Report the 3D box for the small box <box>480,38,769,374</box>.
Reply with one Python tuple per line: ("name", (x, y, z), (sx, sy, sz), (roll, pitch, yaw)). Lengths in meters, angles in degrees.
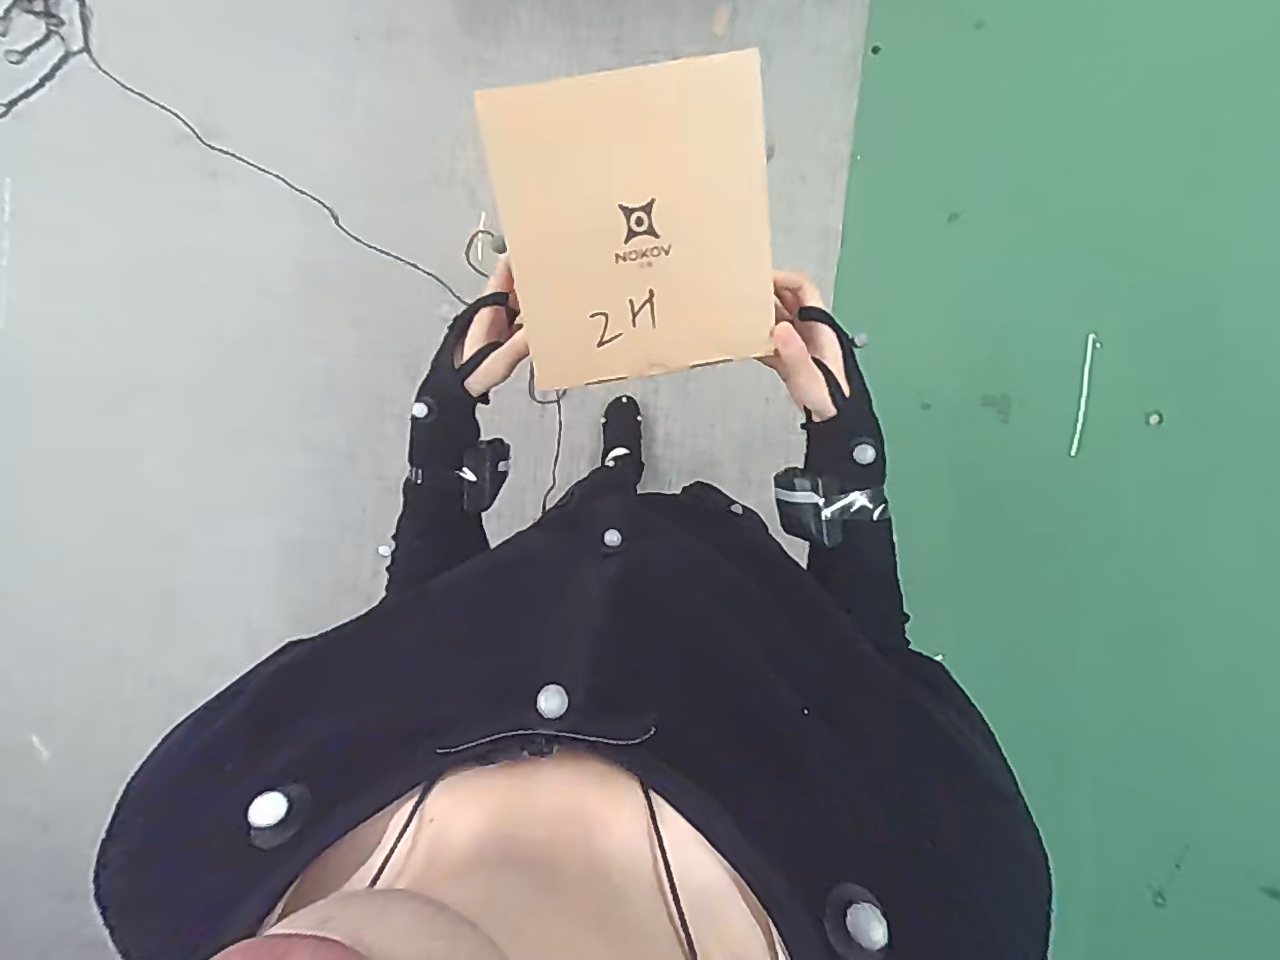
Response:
("small box", (-0.008, -0.190, 0.411), (0.168, 0.176, 0.179), (-8, 112, -1))
